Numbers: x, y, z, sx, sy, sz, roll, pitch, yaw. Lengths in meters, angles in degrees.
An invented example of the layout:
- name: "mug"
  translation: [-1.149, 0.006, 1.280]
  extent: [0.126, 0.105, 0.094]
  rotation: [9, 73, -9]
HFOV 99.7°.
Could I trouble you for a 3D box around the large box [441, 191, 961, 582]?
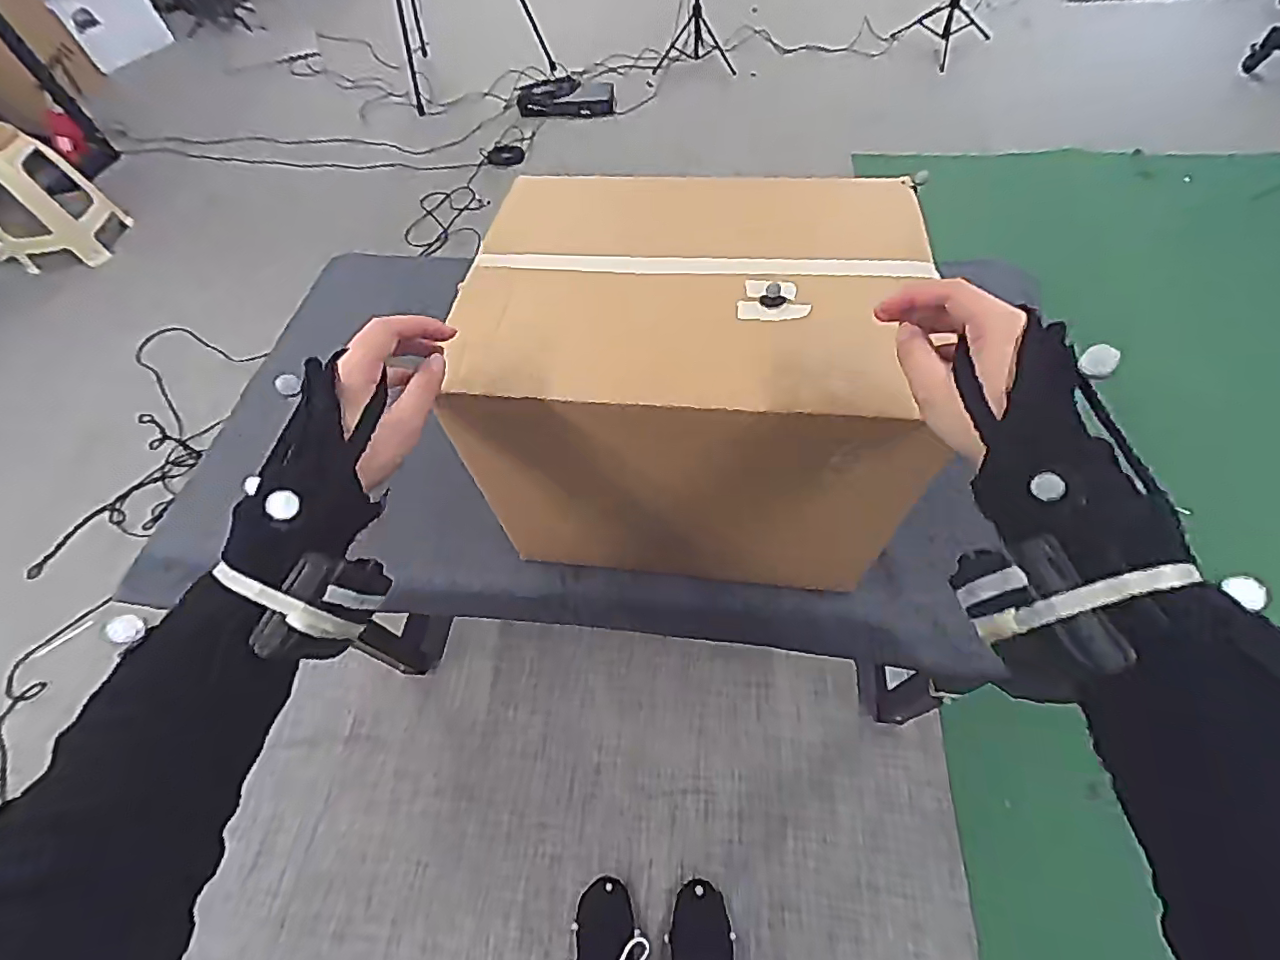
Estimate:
- name: "large box"
  translation: [0.059, -0.098, 0.612]
  extent: [0.408, 0.320, 0.320]
  rotation: [4, 57, 7]
